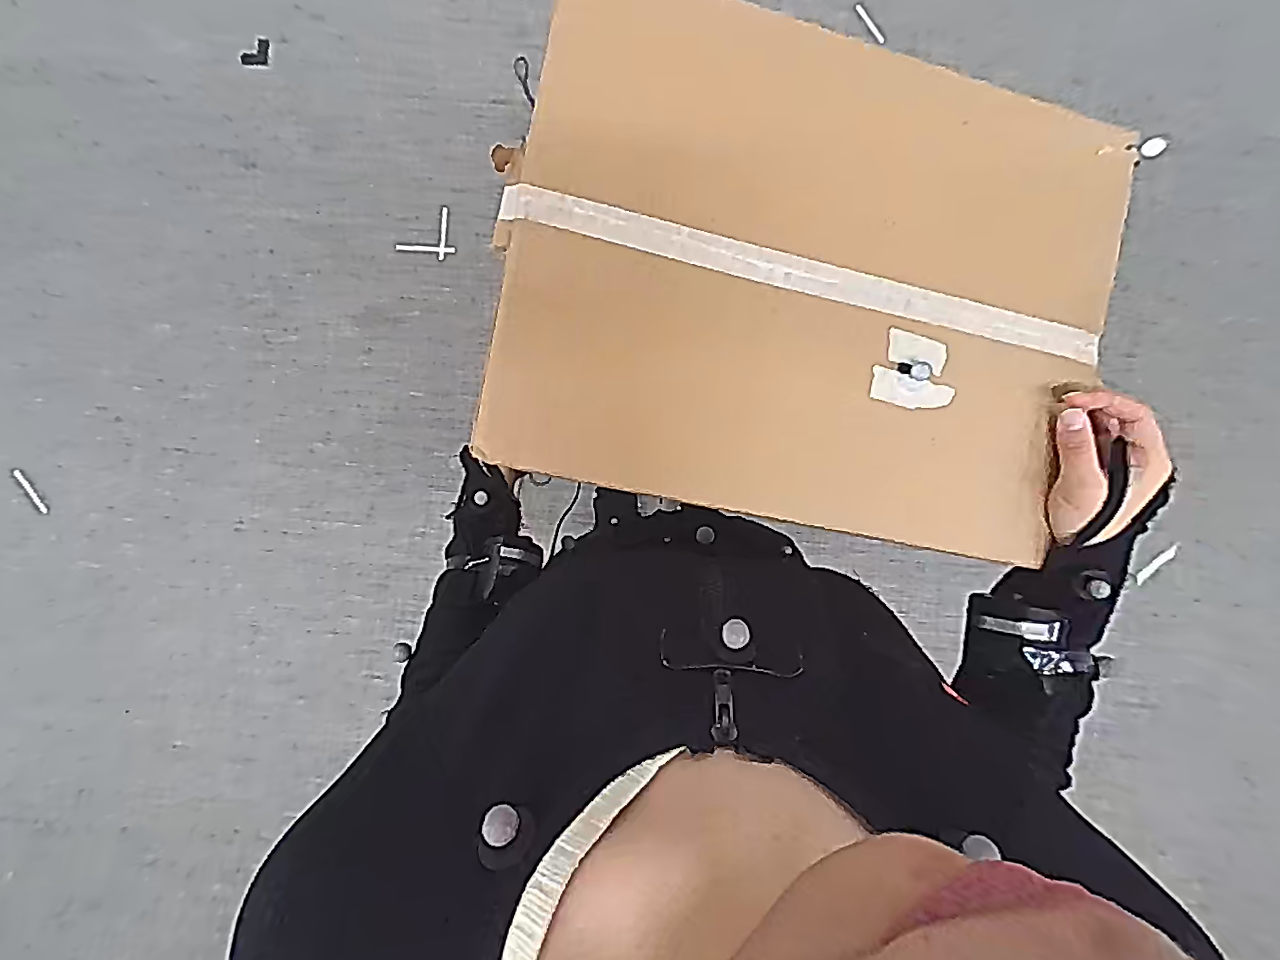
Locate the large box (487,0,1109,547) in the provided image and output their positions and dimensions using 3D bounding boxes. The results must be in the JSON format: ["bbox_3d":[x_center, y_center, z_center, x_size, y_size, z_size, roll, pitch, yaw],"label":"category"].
[{"bbox_3d":[0.097,-0.138,0.507,0.408,0.320,0.320,11,92,-10],"label":"large box"}]
